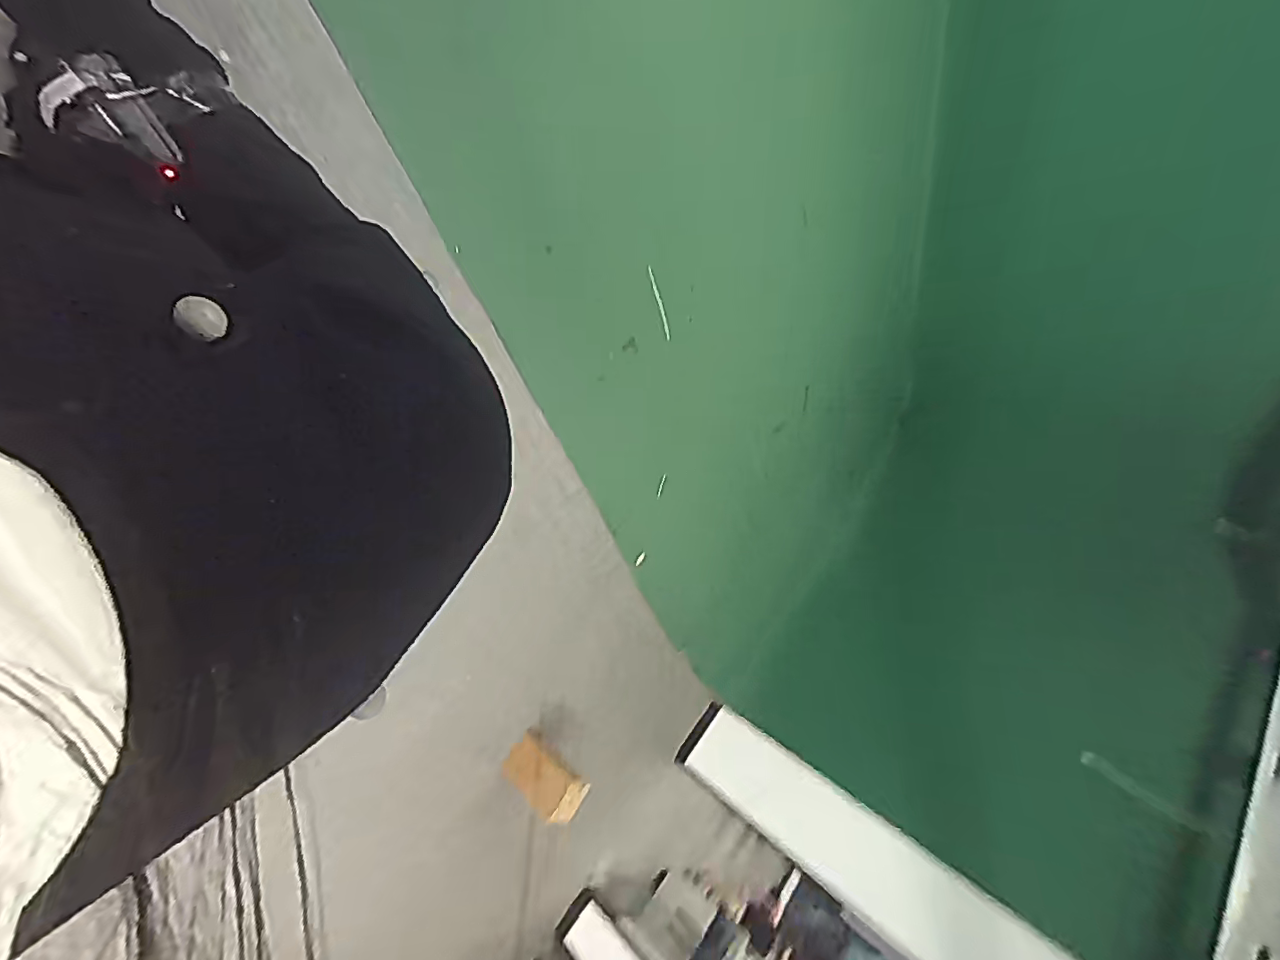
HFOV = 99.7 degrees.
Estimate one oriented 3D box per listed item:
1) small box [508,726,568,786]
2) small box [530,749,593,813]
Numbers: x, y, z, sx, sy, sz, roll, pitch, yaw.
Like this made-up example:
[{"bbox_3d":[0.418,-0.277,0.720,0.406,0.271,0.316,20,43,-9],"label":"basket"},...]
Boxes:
[{"bbox_3d":[-0.459,1.226,2.398,0.179,0.176,0.168,-57,143,-12],"label":"small box"},{"bbox_3d":[-0.342,1.284,2.303,0.179,0.176,0.168,-58,141,-10],"label":"small box"}]
